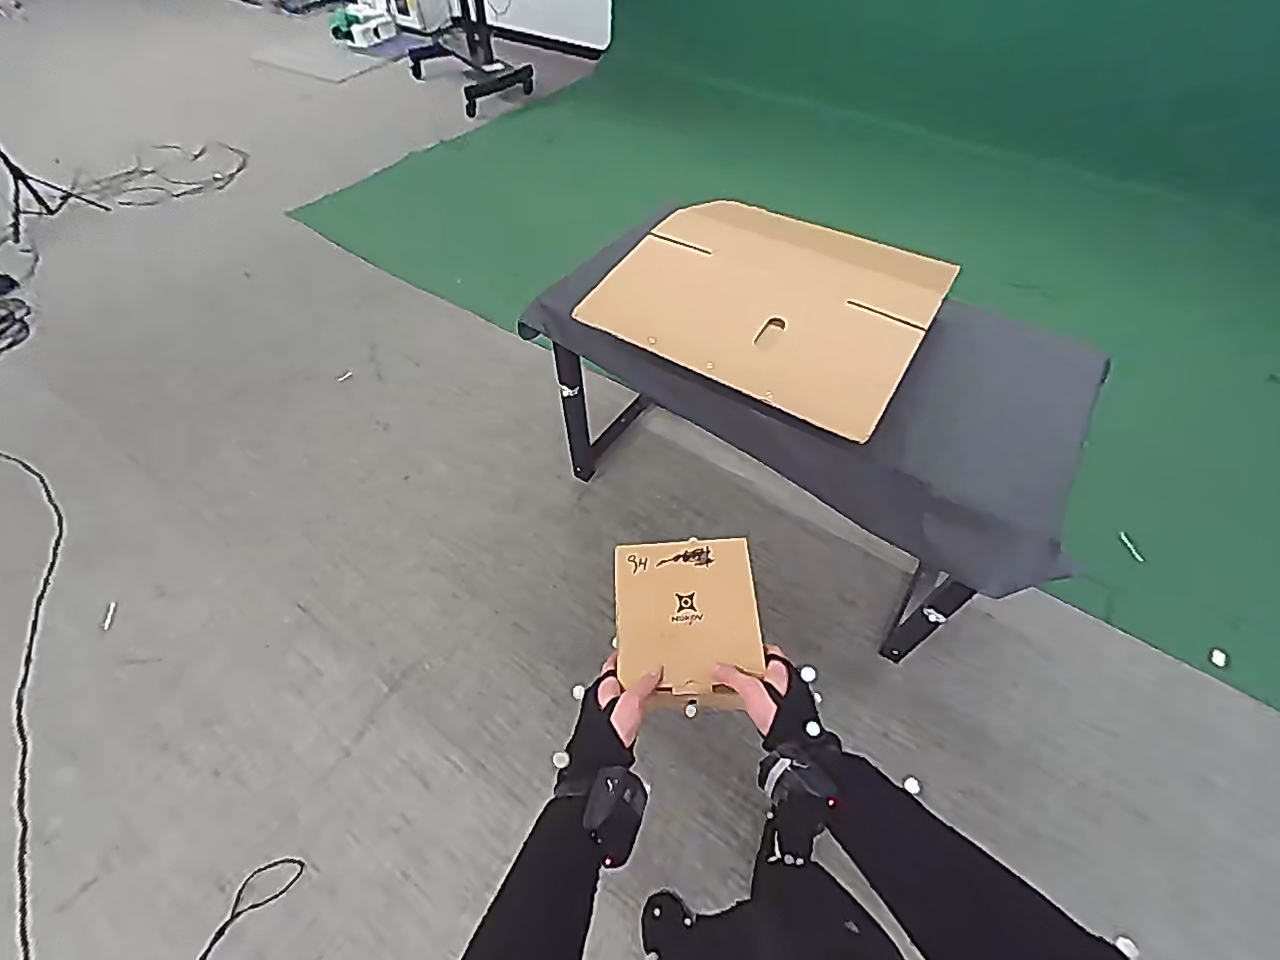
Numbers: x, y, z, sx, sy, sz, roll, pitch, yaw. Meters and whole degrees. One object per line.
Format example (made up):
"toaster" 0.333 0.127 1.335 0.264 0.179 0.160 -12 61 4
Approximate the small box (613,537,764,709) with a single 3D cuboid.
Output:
"small box" 0.059 0.193 0.704 0.168 0.176 0.179 -6 59 1
